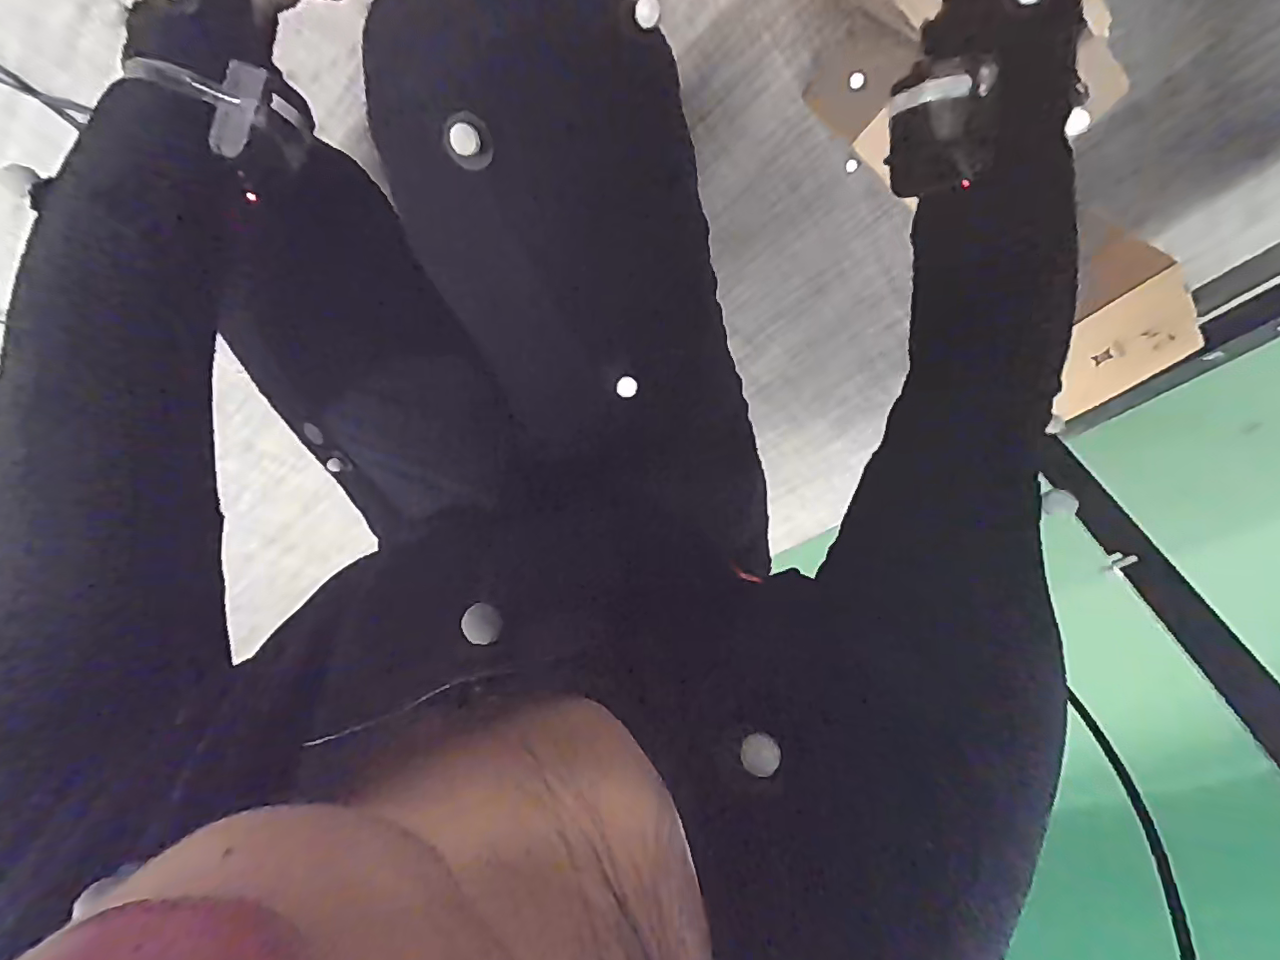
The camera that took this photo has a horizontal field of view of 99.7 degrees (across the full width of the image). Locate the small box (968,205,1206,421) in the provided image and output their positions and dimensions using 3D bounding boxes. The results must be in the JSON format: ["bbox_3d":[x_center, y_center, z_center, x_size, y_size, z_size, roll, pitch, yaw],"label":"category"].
[{"bbox_3d":[0.573,-0.218,0.719,0.168,0.176,0.179,30,126,-32],"label":"small box"}]
